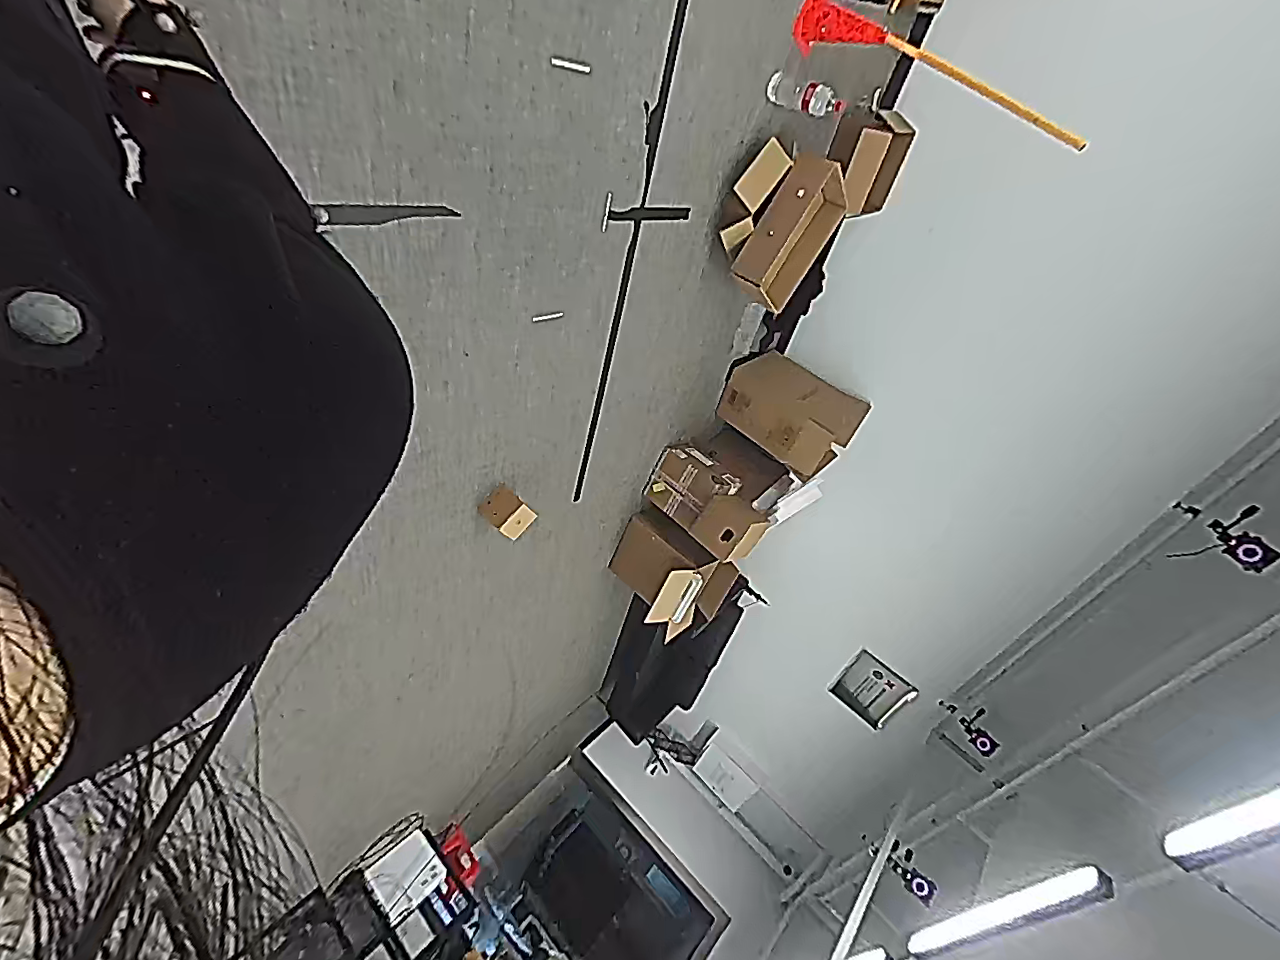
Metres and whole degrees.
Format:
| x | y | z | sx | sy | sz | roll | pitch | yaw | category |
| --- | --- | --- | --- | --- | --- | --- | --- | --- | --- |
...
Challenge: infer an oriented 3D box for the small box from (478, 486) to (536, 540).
| x | y | z | sx | sy | sz | roll | pitch | yaw | category |
| --- | --- | --- | --- | --- | --- | --- | --- | --- | --- |
| -0.629 | 0.153 | 2.549 | 0.168 | 0.176 | 0.179 | -47 | 157 | -8 | small box |
